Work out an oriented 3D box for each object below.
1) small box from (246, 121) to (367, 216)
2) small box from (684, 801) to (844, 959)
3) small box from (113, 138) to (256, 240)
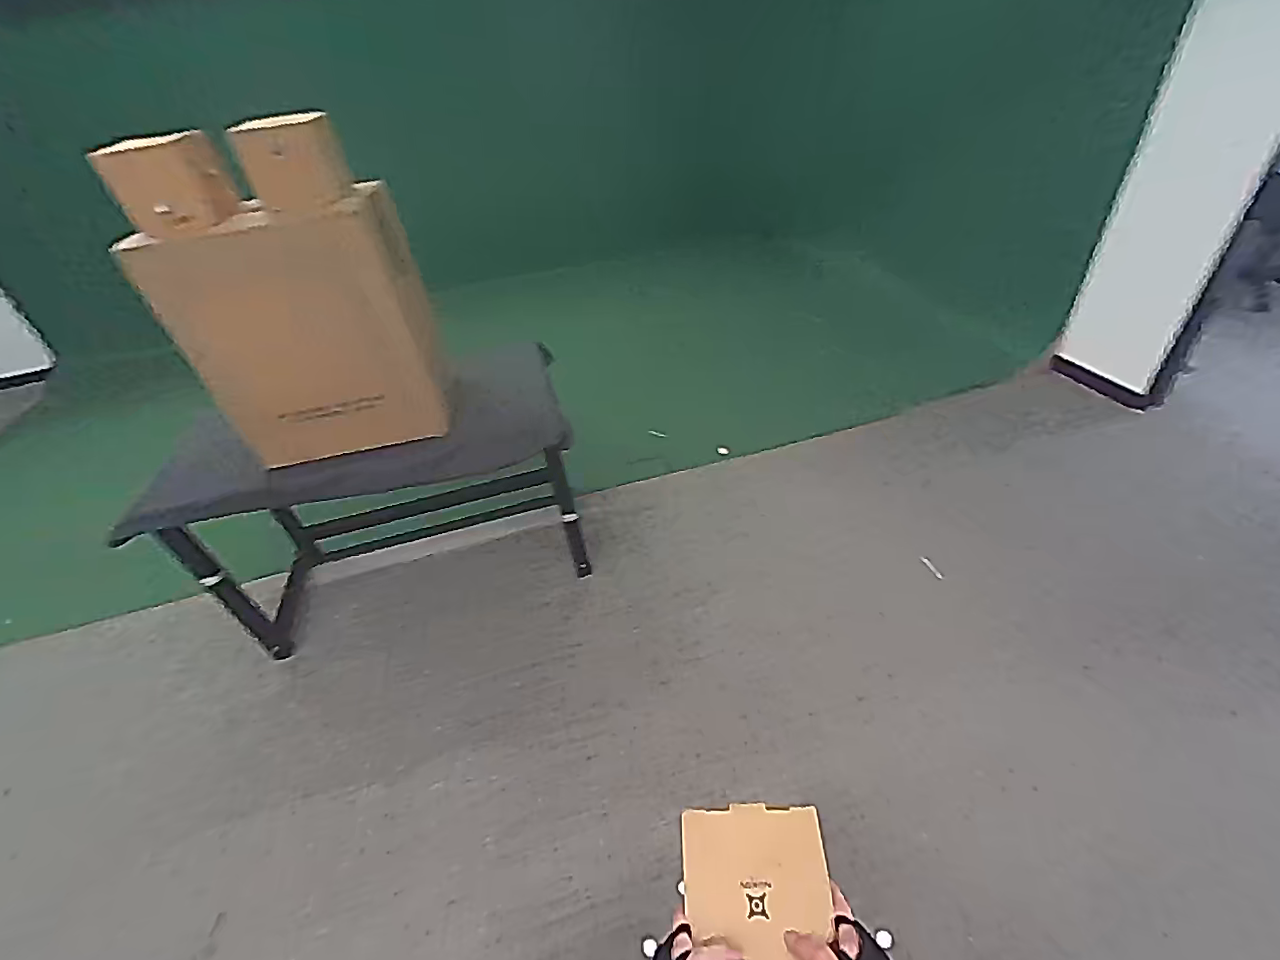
[{"bbox_3d":[-0.796,-0.754,1.311,0.179,0.176,0.168,-10,42,-7],"label":"small box"},{"bbox_3d":[0.143,0.516,0.665,0.168,0.176,0.179,-6,46,7],"label":"small box"},{"bbox_3d":[-1.049,-0.683,1.269,0.168,0.176,0.179,-12,41,-4],"label":"small box"}]
